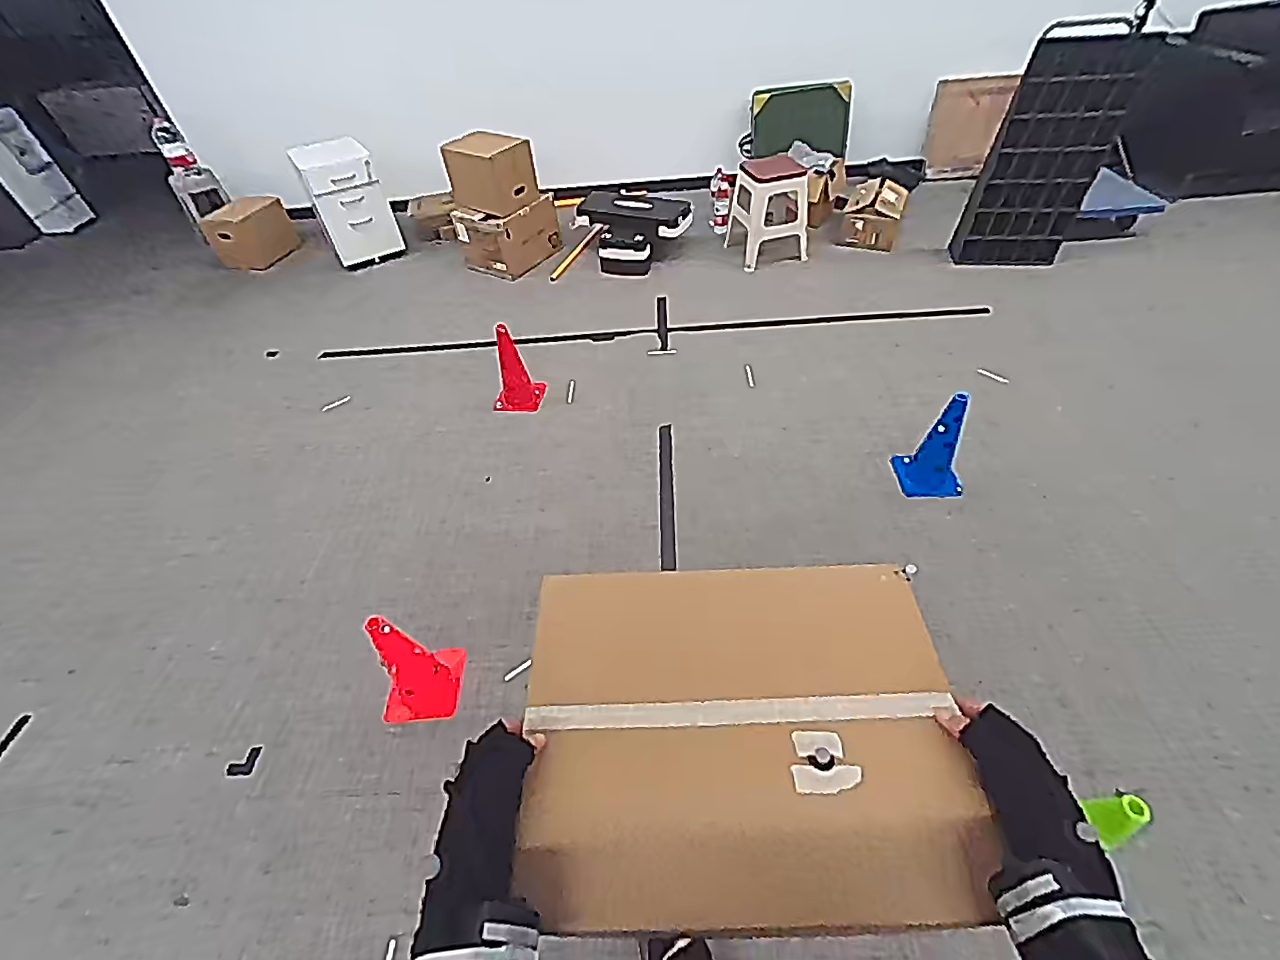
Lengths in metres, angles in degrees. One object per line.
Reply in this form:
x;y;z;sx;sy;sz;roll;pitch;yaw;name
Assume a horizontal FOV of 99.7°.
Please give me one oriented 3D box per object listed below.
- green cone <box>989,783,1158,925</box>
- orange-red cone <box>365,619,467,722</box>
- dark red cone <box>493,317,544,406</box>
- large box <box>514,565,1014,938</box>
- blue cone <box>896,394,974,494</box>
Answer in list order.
0.867;0.680;1.046;0.202;0.368;0.200;-30;52;-23;green cone
-0.613;0.464;1.403;0.198;0.360;0.199;-5;48;2;orange-red cone
-0.543;-0.501;2.272;0.201;0.394;0.202;2;47;6;dark red cone
0.097;0.320;0.631;0.408;0.320;0.320;-2;49;1;large box
1.022;-0.131;1.820;0.192;0.380;0.193;0;47;4;blue cone
